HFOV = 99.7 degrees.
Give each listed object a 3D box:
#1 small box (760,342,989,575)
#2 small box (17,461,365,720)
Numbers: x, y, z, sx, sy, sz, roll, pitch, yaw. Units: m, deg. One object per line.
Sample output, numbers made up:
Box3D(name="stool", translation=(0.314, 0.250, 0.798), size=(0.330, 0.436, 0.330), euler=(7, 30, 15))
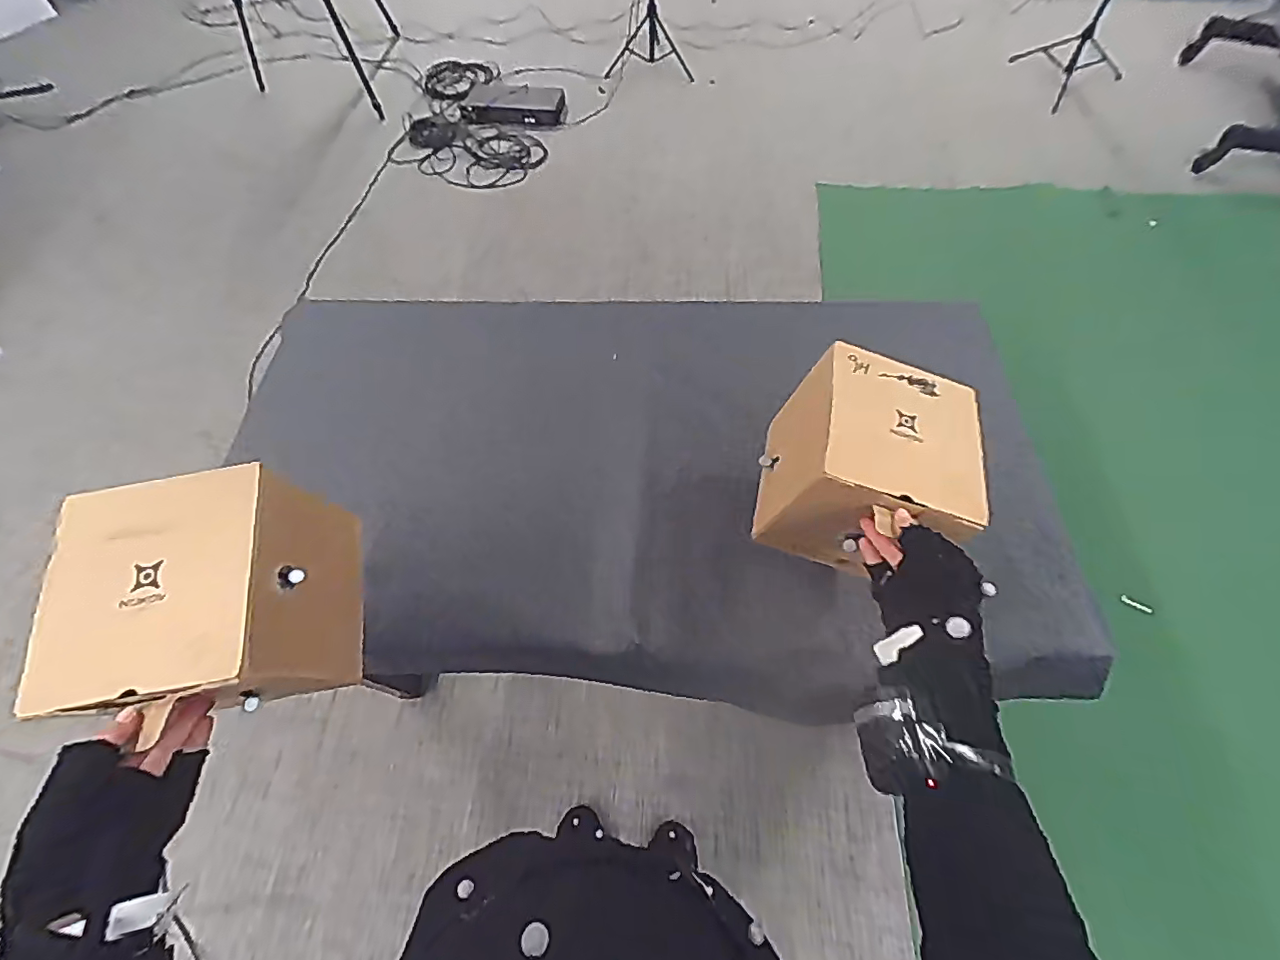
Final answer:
Box3D(name="small box", translation=(0.247, -0.012, 0.599), size=(0.168, 0.176, 0.179), euler=(18, 61, -4))
Box3D(name="small box", translation=(-0.371, 0.106, 0.488), size=(0.168, 0.176, 0.179), euler=(-10, 68, -1))
